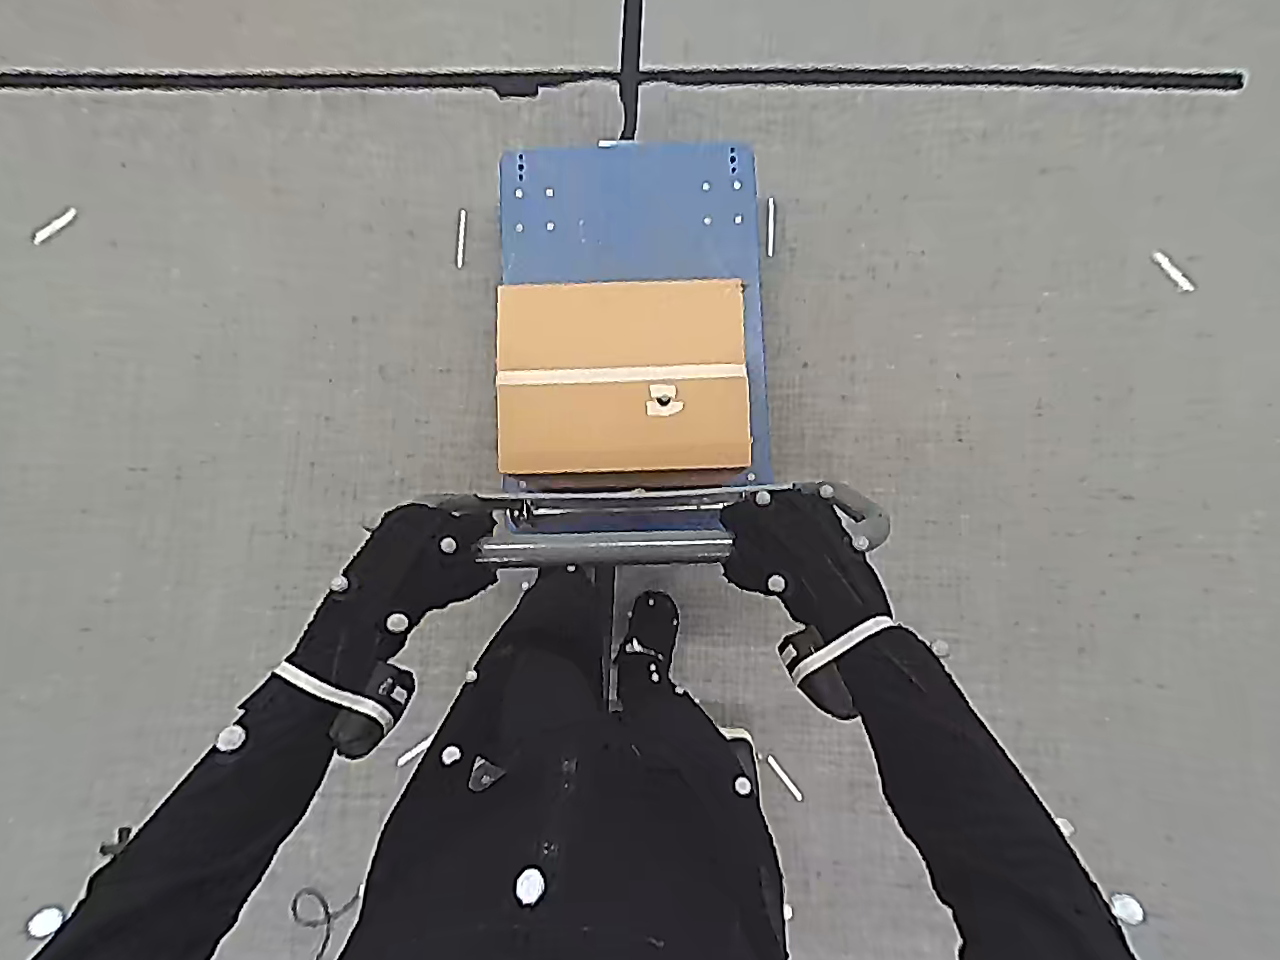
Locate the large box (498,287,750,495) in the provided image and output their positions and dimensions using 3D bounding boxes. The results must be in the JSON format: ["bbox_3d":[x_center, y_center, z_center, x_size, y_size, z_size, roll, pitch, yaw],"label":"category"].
[{"bbox_3d":[-0.031,-0.142,1.015,0.408,0.320,0.320,-1,85,0],"label":"large box"}]
